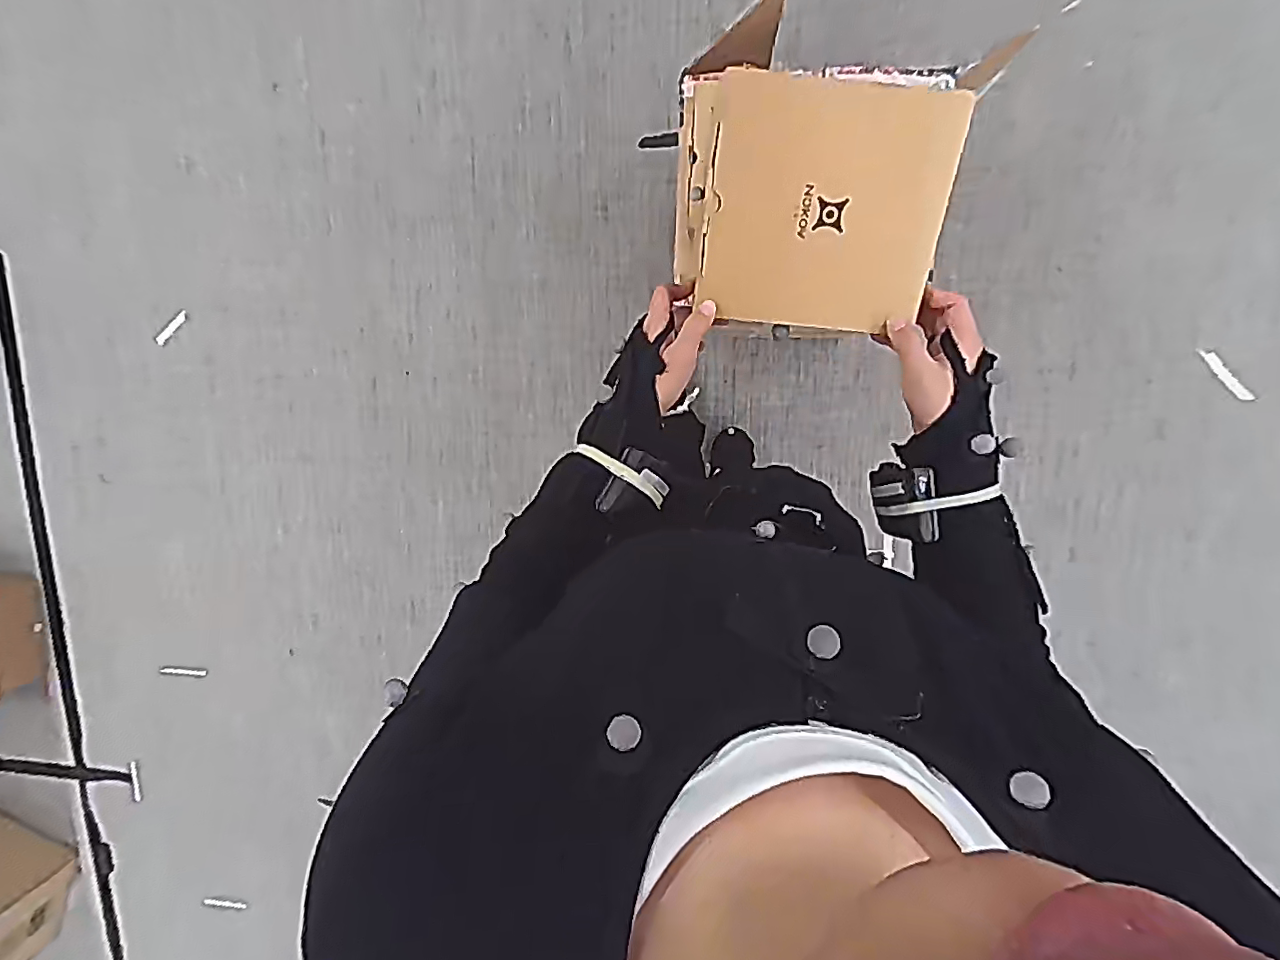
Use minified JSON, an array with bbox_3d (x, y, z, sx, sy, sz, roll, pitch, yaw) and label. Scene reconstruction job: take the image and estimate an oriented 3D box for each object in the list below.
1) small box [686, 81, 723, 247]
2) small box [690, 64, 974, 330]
[{"bbox_3d":[0.157,-0.405,0.731,0.179,0.176,0.168,4,102,5],"label":"small box"},{"bbox_3d":[0.141,-0.235,0.476,0.179,0.176,0.168,6,113,2],"label":"small box"}]
